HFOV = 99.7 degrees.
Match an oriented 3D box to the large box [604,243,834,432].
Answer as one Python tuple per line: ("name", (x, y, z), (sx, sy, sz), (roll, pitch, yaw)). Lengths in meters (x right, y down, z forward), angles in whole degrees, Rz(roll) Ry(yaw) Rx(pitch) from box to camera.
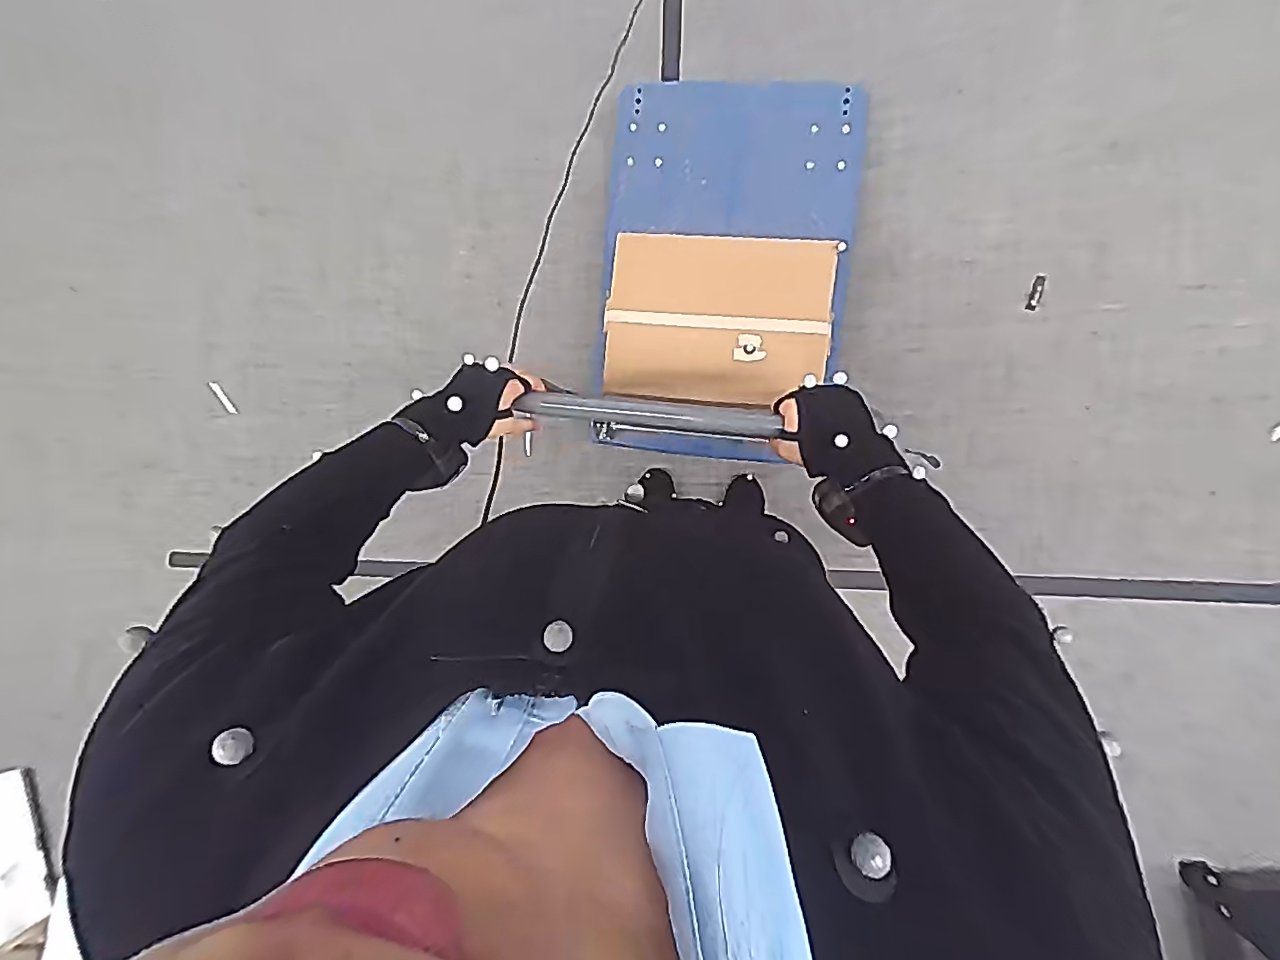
("large box", (0.157, -0.278, 1.143), (0.408, 0.320, 0.320), (6, 93, 8))
